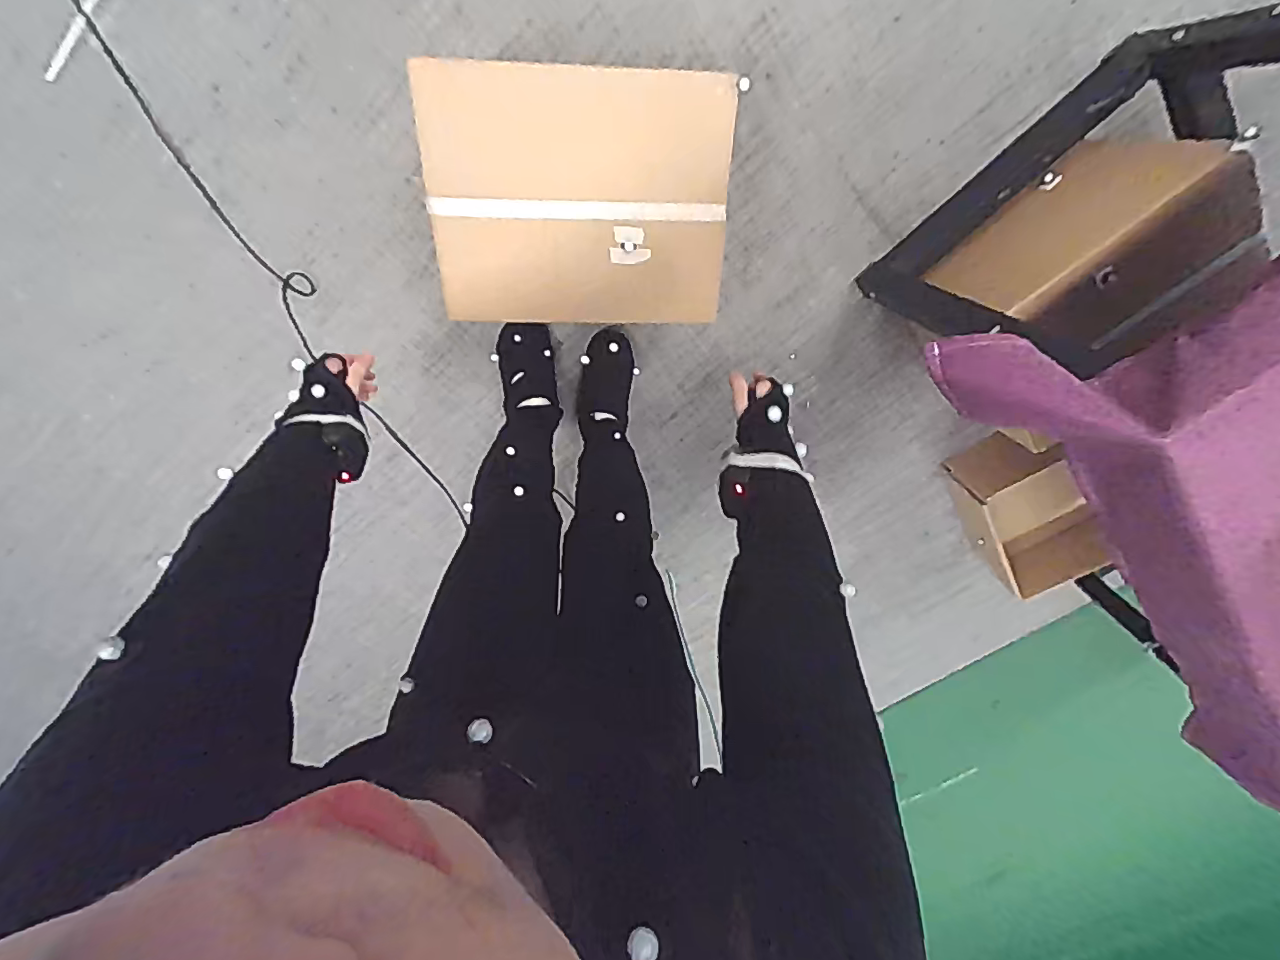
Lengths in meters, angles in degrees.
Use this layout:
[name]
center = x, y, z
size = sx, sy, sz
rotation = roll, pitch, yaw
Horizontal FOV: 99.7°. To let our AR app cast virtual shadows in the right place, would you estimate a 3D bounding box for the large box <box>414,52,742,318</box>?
[large box]
center = -0.088, -0.454, 0.856
size = 0.408, 0.320, 0.320
rotation = -1, 123, -5
